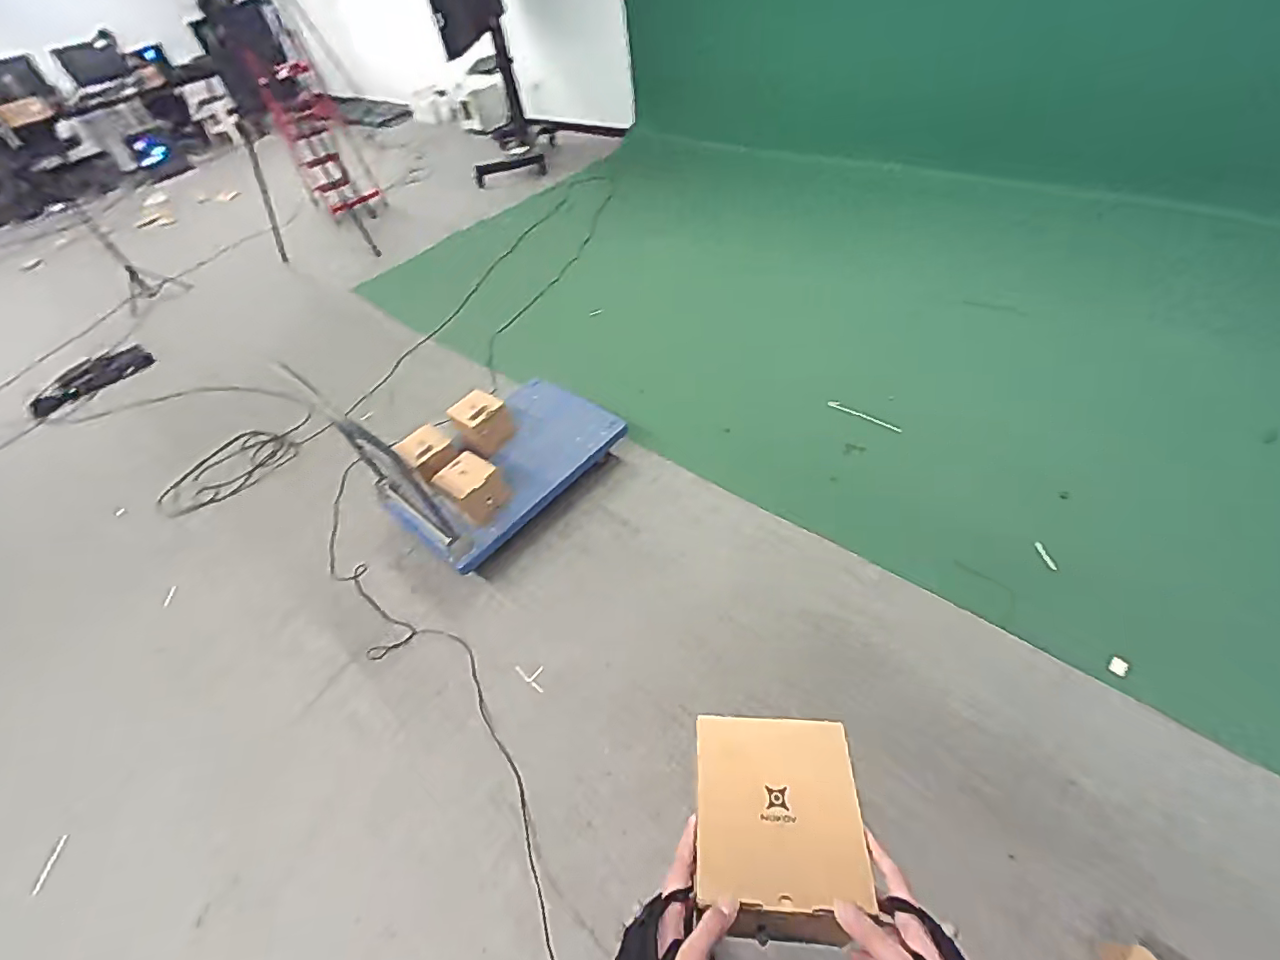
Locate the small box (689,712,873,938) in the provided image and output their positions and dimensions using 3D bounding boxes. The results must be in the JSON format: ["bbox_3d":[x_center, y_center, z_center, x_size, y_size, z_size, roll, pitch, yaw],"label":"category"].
[{"bbox_3d":[0.140,0.387,0.610,0.168,0.176,0.179,0,44,5],"label":"small box"}]

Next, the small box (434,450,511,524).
[{"bbox_3d":[-0.588,0.030,1.925,0.179,0.176,0.168,28,58,29],"label":"small box"}]

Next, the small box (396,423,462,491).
[{"bbox_3d":[-0.785,-0.081,2.059,0.179,0.176,0.168,32,60,33],"label":"small box"}]

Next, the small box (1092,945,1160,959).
[{"bbox_3d":[0.956,1.025,1.014,0.179,0.176,0.168,-39,53,-23],"label":"small box"}]
